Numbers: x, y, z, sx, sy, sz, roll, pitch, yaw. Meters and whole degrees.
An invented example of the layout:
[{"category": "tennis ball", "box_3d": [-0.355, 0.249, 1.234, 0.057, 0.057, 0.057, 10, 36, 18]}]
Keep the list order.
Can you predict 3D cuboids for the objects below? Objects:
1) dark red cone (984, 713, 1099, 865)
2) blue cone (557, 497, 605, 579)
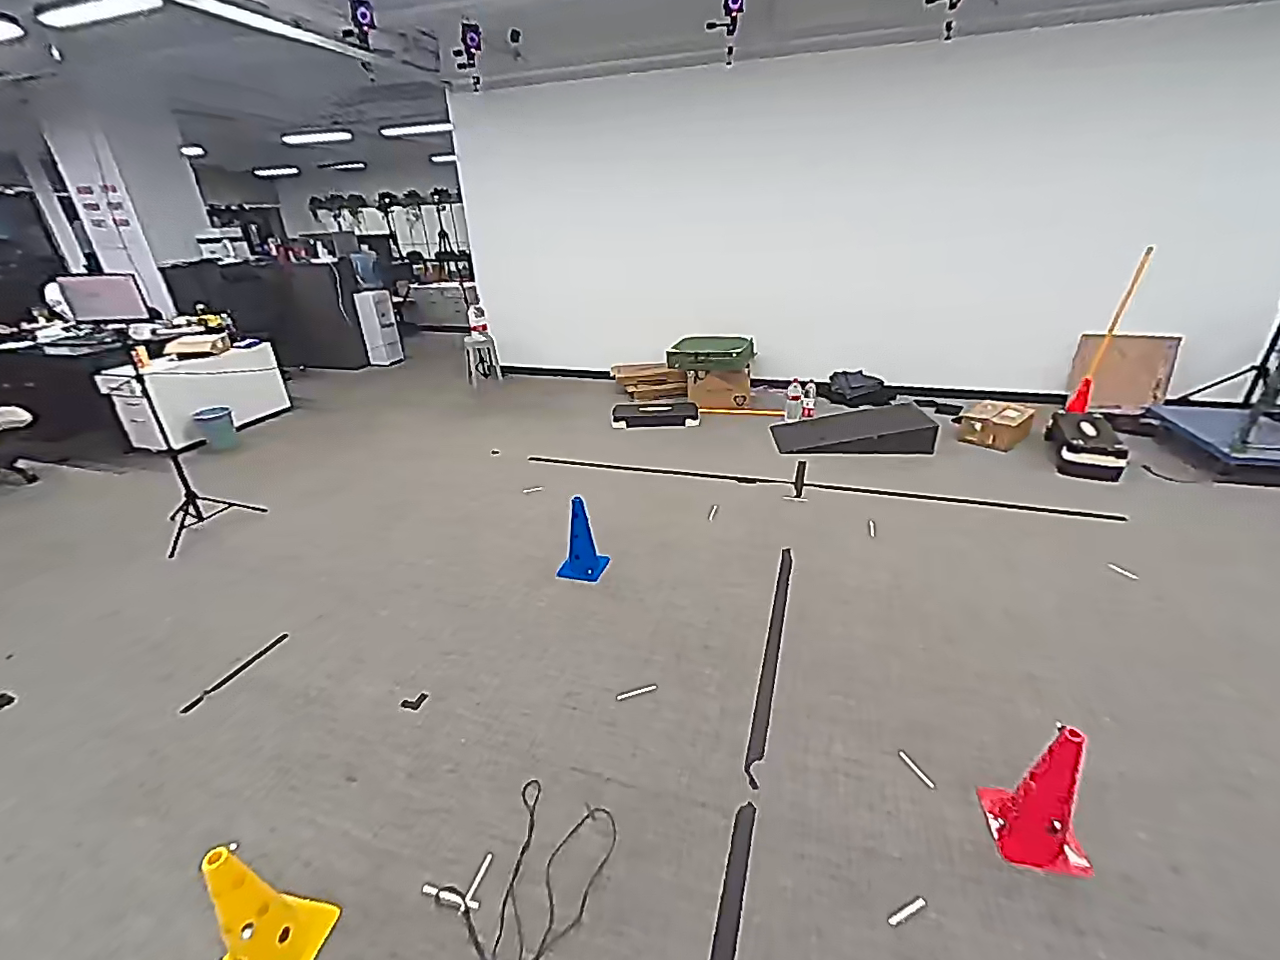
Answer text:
[{"category": "dark red cone", "box_3d": [0.997, 0.711, 1.296, 0.201, 0.394, 0.202, 2, 26, 11]}, {"category": "blue cone", "box_3d": [-0.277, 0.250, 2.421, 0.192, 0.380, 0.193, 6, 27, 18]}]
